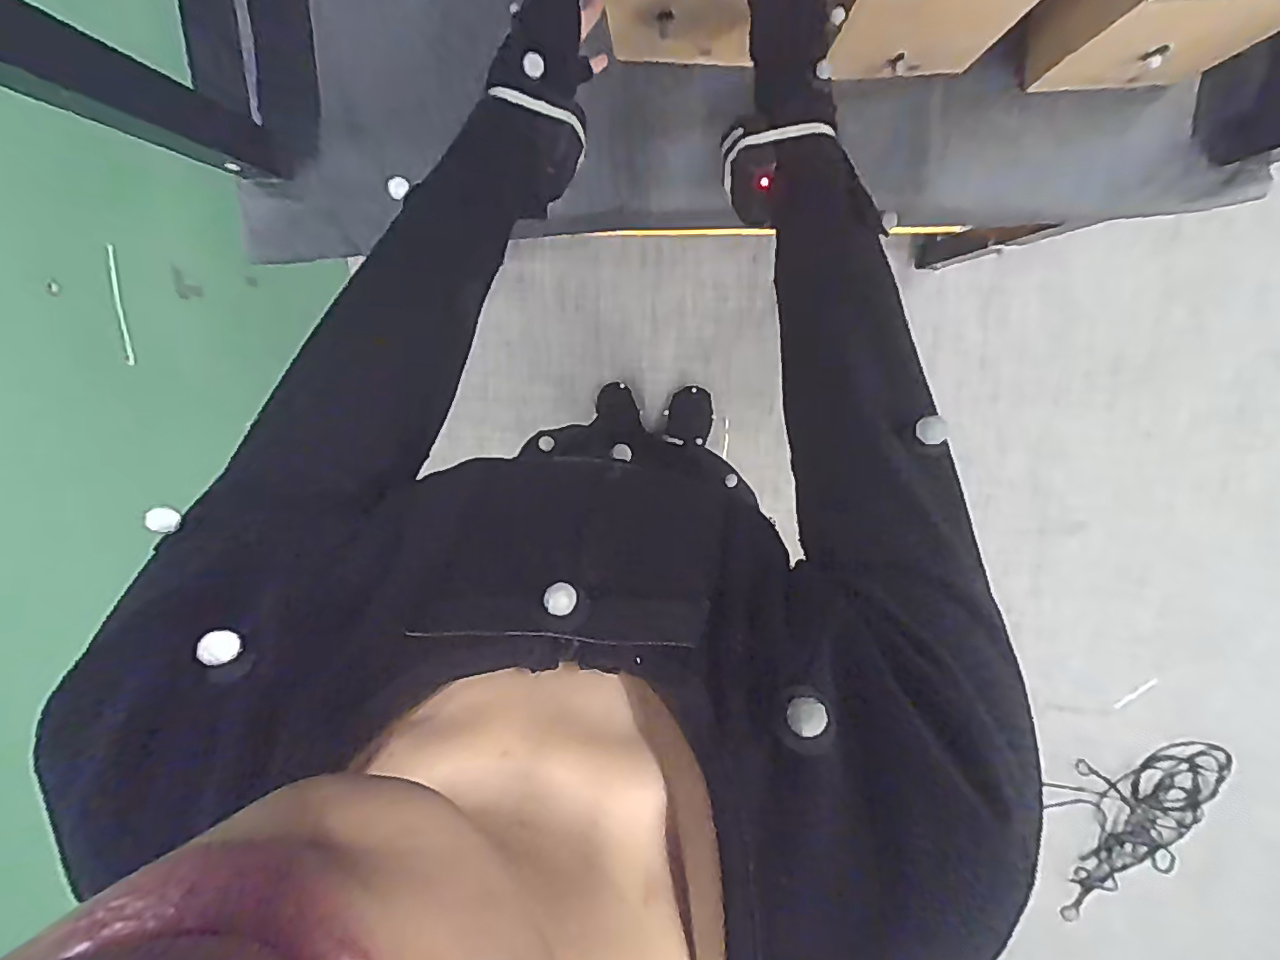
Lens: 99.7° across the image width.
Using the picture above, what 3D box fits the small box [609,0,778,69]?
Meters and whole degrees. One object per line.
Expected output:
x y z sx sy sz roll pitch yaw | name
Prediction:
0.060 -0.538 0.526 0.168 0.176 0.179 5 104 2 | small box

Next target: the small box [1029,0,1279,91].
0.505 -0.495 0.507 0.168 0.176 0.179 -1 102 4 | small box
